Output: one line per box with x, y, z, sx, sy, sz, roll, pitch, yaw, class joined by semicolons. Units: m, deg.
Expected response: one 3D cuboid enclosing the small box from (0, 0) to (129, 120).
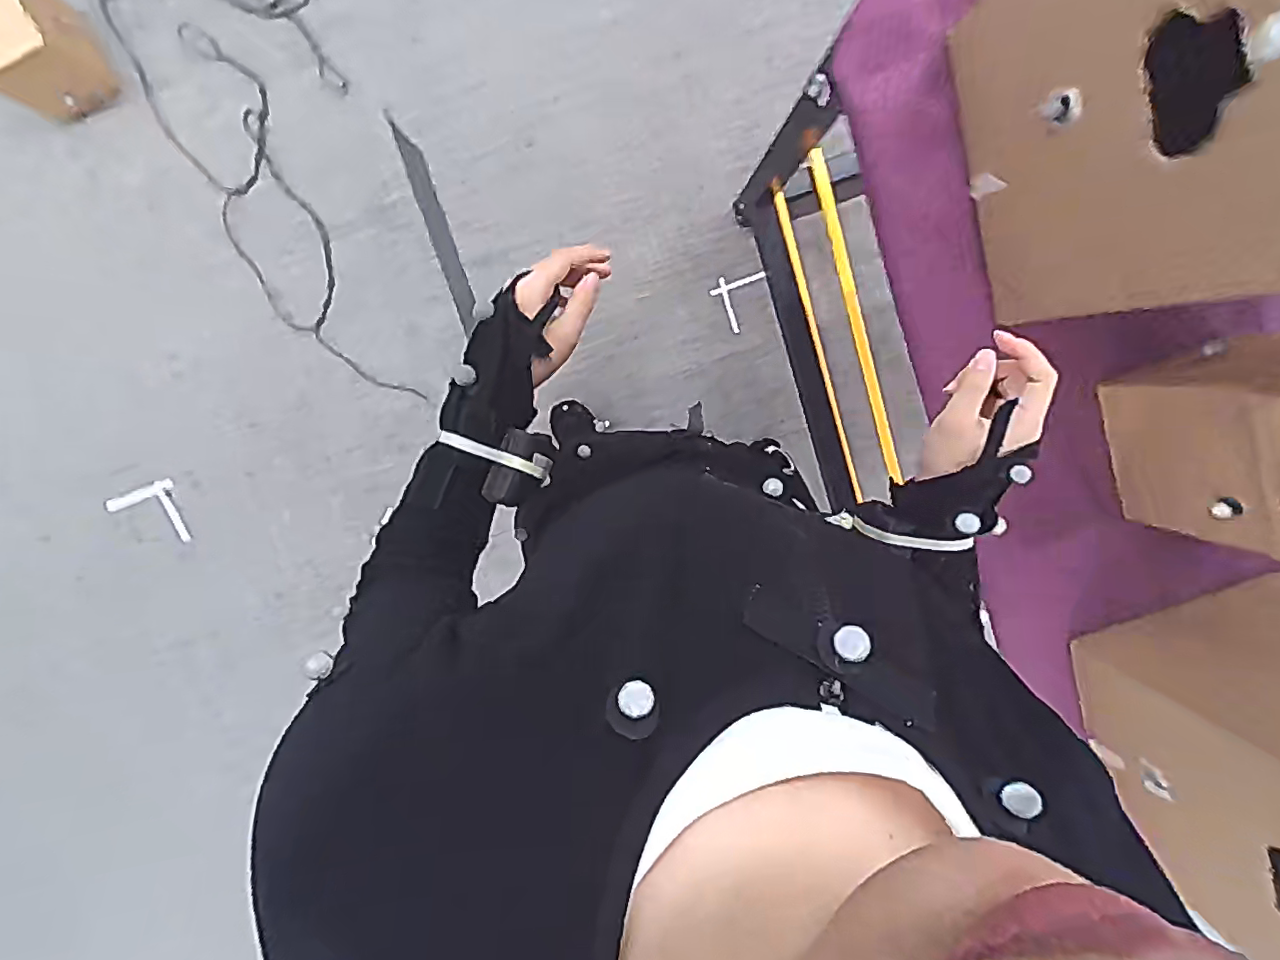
-1.222;-0.887;1.098;0.168;0.176;0.179;-25;100;3;small box
